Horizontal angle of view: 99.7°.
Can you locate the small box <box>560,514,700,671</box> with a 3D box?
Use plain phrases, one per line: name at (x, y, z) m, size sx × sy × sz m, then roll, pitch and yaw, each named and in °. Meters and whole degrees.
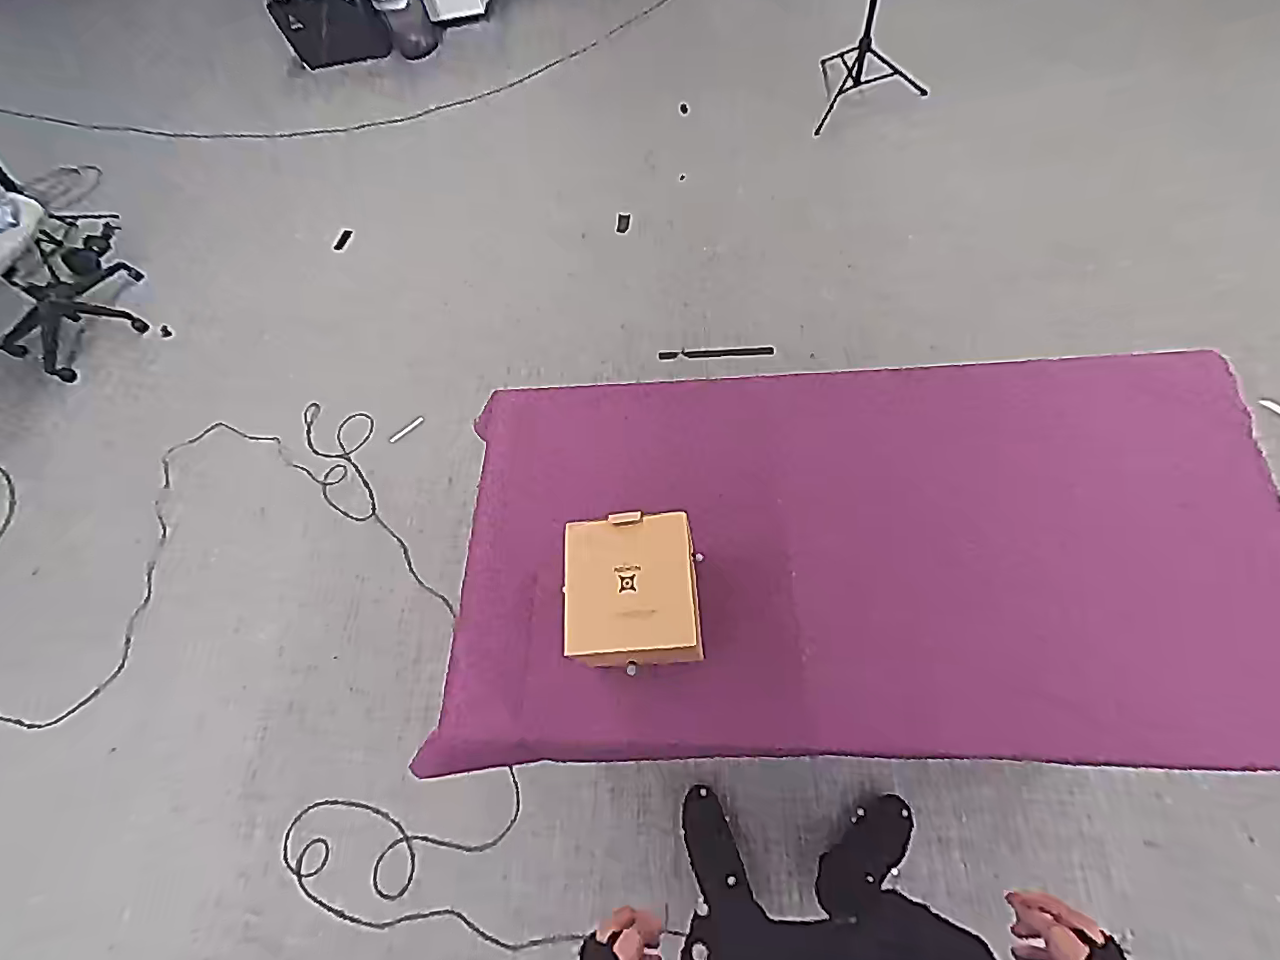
small box at (-0.008, 0.162, 0.751) m, size 0.168 × 0.176 × 0.179 m, roll -6°, pitch 65°, yaw 7°
